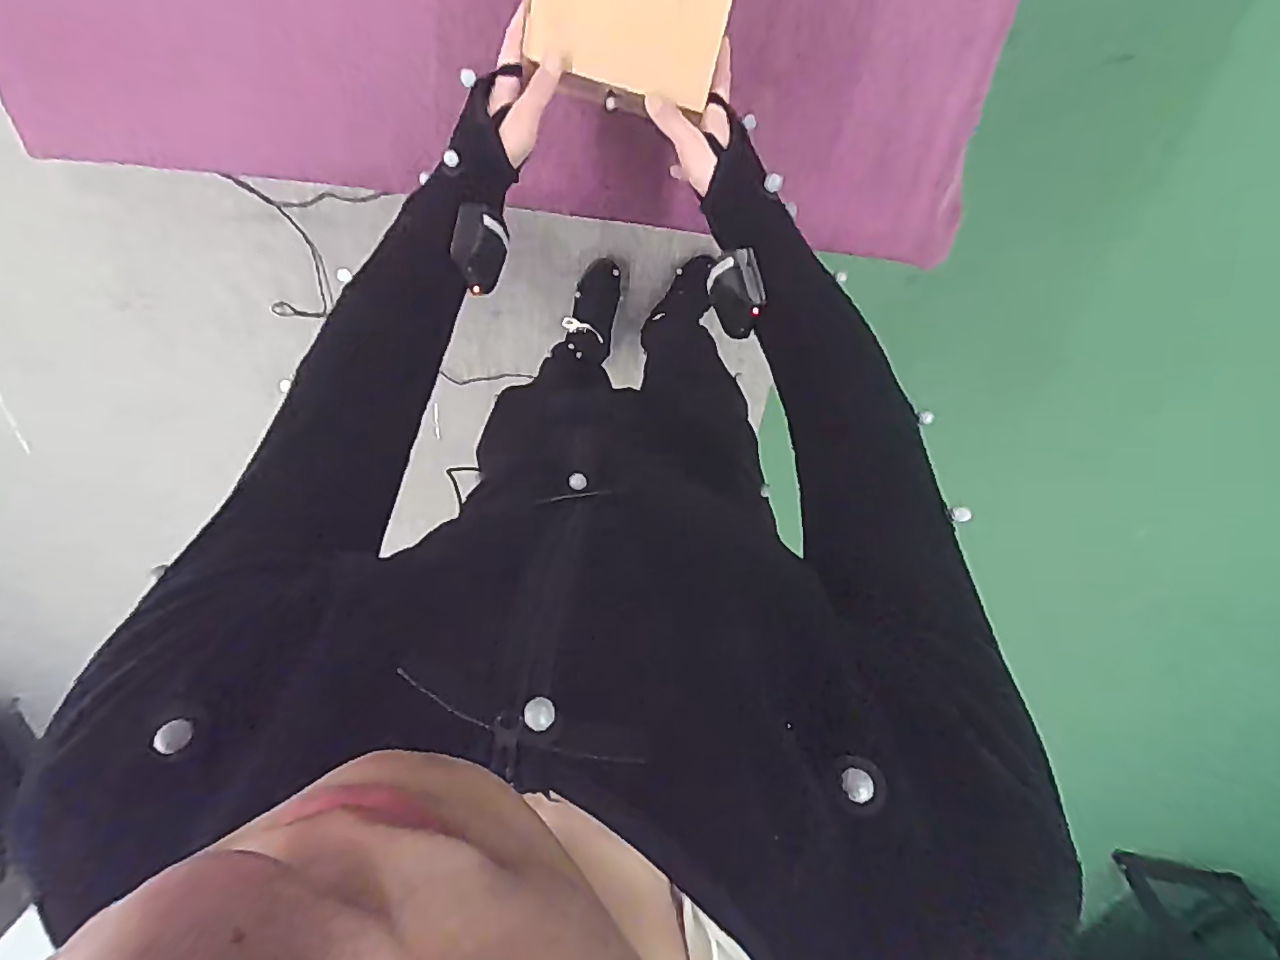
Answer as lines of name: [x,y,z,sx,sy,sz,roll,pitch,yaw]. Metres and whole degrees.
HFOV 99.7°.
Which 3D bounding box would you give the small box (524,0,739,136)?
small box: [0.002,-0.460,0.534,0.179,0.176,0.168,14,117,-5]
